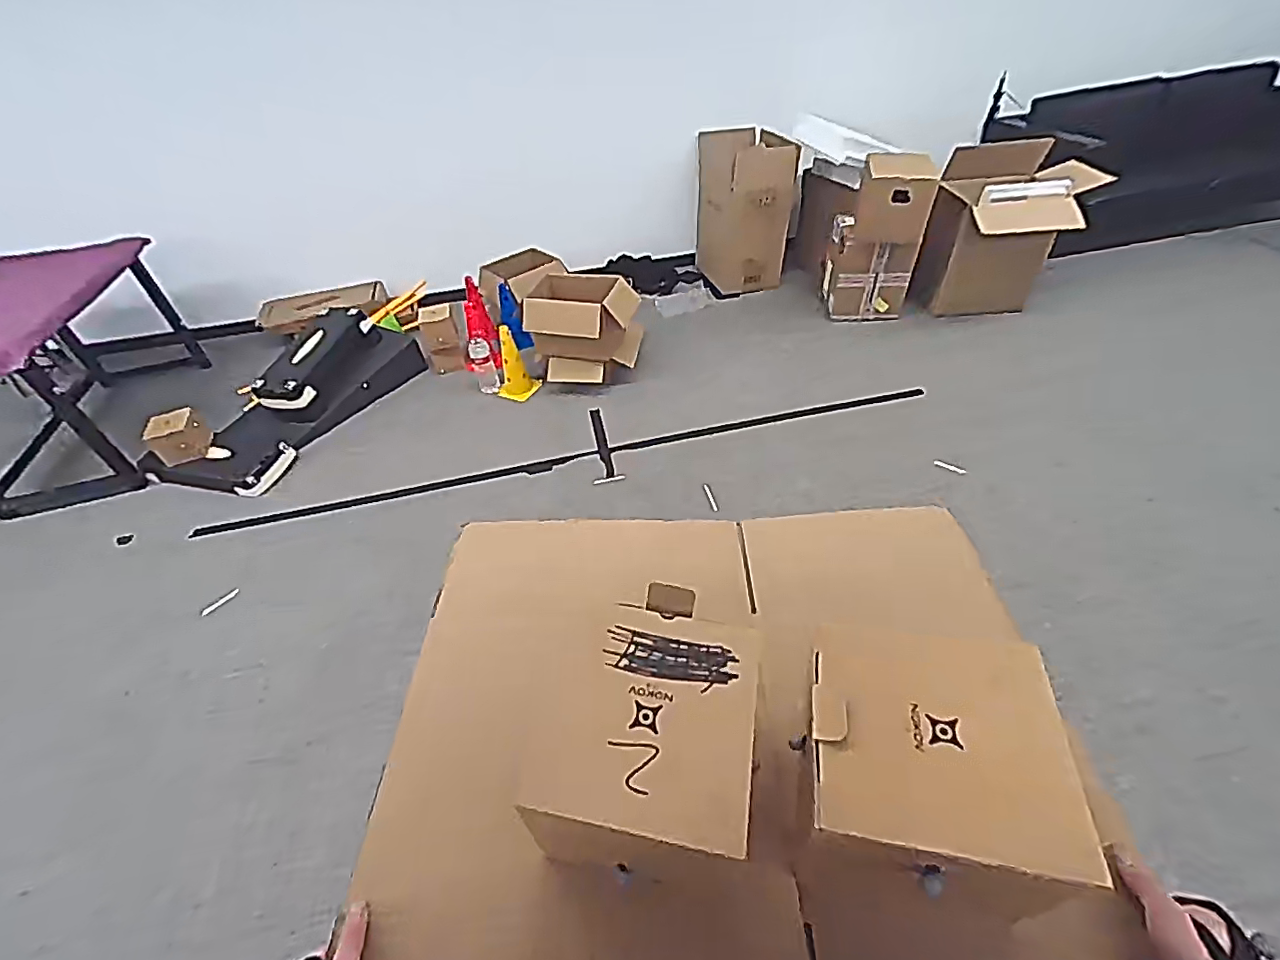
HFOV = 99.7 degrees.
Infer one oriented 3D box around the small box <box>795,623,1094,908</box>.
[{"bbox_3d":[0.235,0.249,0.474,0.179,0.176,0.168,3,46,14],"label":"small box"}]
